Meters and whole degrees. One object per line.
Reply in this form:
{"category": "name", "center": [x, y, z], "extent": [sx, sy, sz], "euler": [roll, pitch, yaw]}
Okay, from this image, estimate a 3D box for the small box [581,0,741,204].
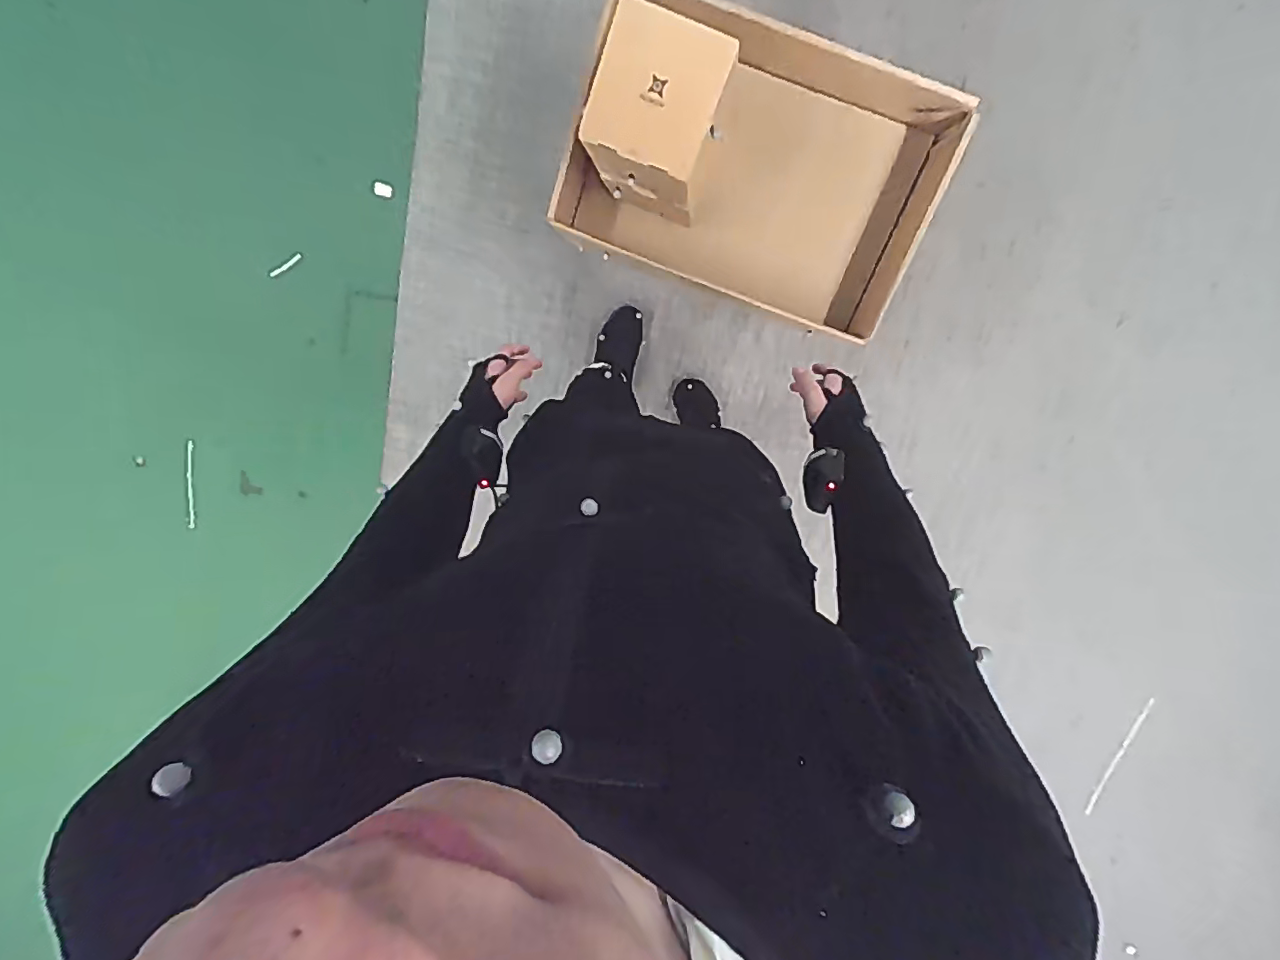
{"category": "small box", "center": [0.029, -0.534, 0.788], "extent": [0.168, 0.176, 0.179], "euler": [22, 108, -3]}
